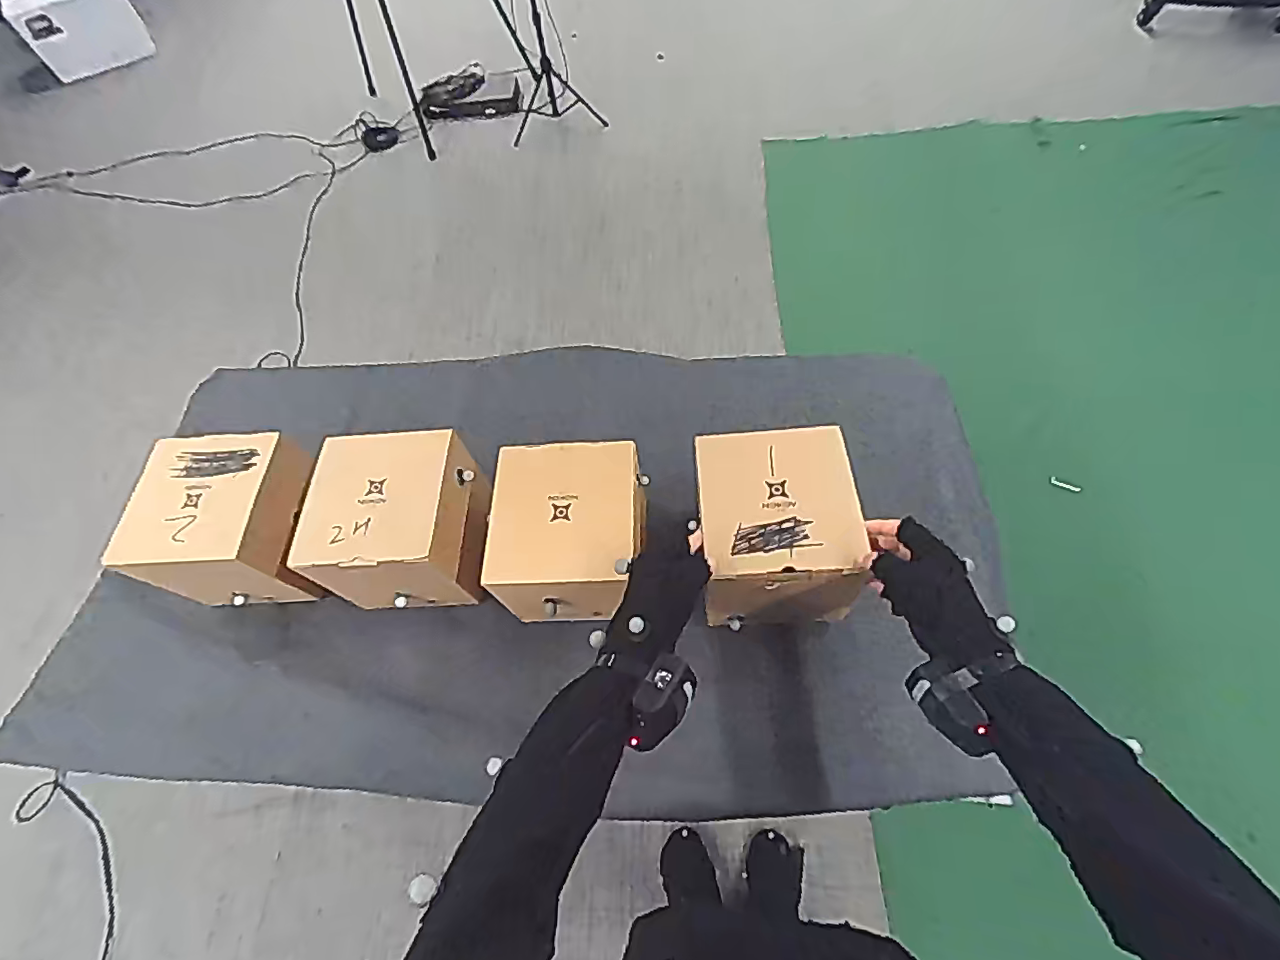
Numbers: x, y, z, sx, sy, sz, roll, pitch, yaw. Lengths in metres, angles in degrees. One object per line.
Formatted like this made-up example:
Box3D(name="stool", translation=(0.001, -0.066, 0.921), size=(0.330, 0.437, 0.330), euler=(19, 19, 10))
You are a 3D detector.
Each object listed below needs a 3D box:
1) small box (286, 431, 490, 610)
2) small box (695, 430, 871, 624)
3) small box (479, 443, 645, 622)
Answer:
Box3D(name="small box", translation=(-0.303, 0.057, 0.699), size=(0.168, 0.176, 0.179), euler=(-3, 61, 4))
Box3D(name="small box", translation=(0.155, 0.065, 0.638), size=(0.168, 0.176, 0.179), euler=(-4, 58, 6))
Box3D(name="small box", translation=(-0.081, 0.074, 0.671), size=(0.168, 0.176, 0.179), euler=(-2, 60, 4))
